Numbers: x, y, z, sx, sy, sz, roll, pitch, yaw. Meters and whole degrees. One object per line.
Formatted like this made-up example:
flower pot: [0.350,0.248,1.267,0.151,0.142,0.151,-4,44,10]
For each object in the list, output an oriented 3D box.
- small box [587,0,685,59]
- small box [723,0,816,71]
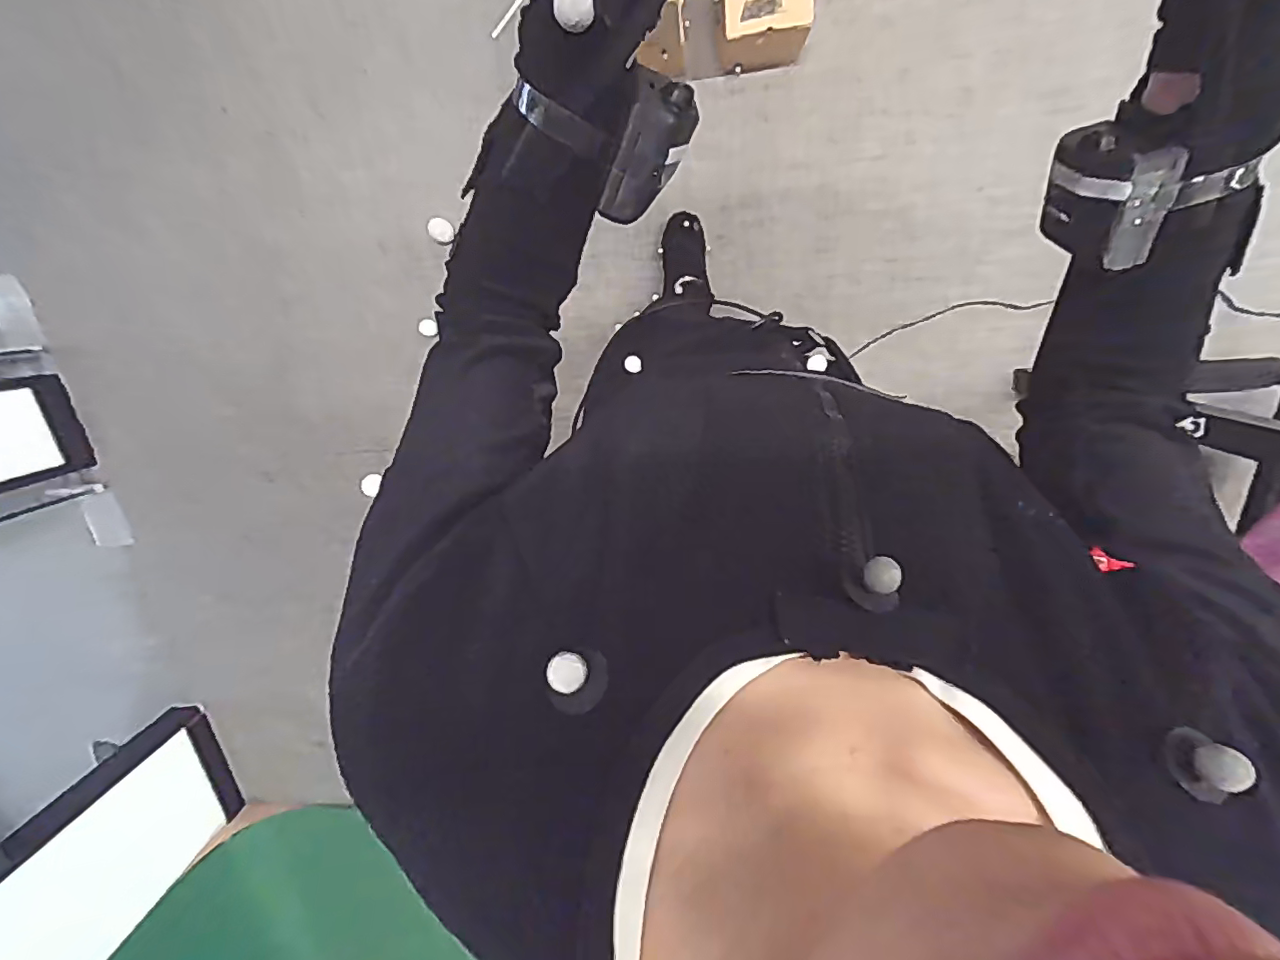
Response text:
small box: [-0.006,-0.894,0.960,0.168,0.176,0.179,-2,107,7]
small box: [0.255,-0.954,1.083,0.168,0.176,0.179,-4,107,7]
